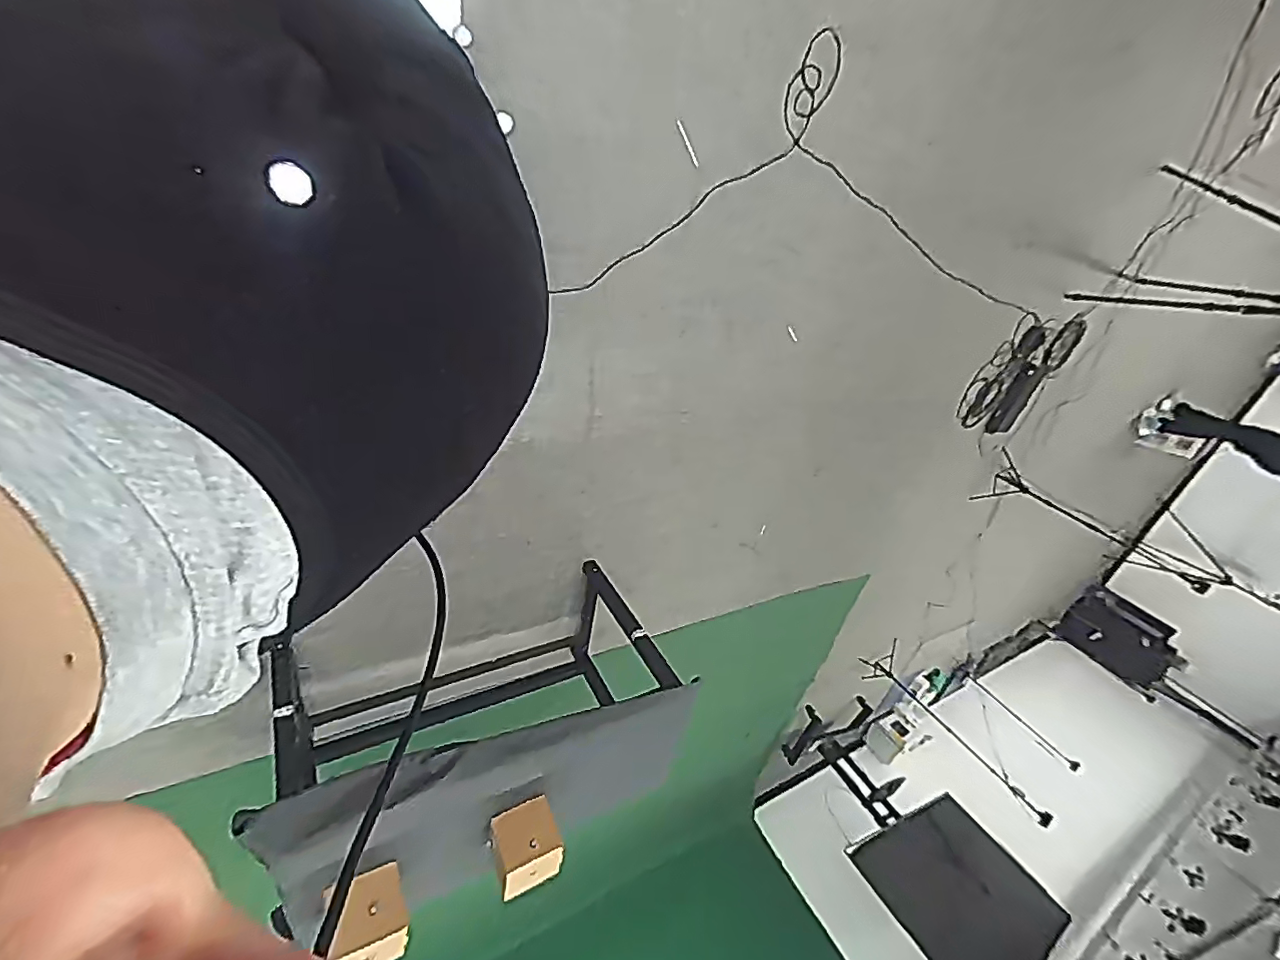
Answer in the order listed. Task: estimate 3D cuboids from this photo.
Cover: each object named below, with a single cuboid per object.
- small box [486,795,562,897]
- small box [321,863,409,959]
[{"bbox_3d":[-0.355,1.103,1.643,0.179,0.176,0.168,-8,125,-30],"label":"small box"},{"bbox_3d":[-0.720,1.151,1.408,0.179,0.176,0.168,-3,123,-35],"label":"small box"}]
